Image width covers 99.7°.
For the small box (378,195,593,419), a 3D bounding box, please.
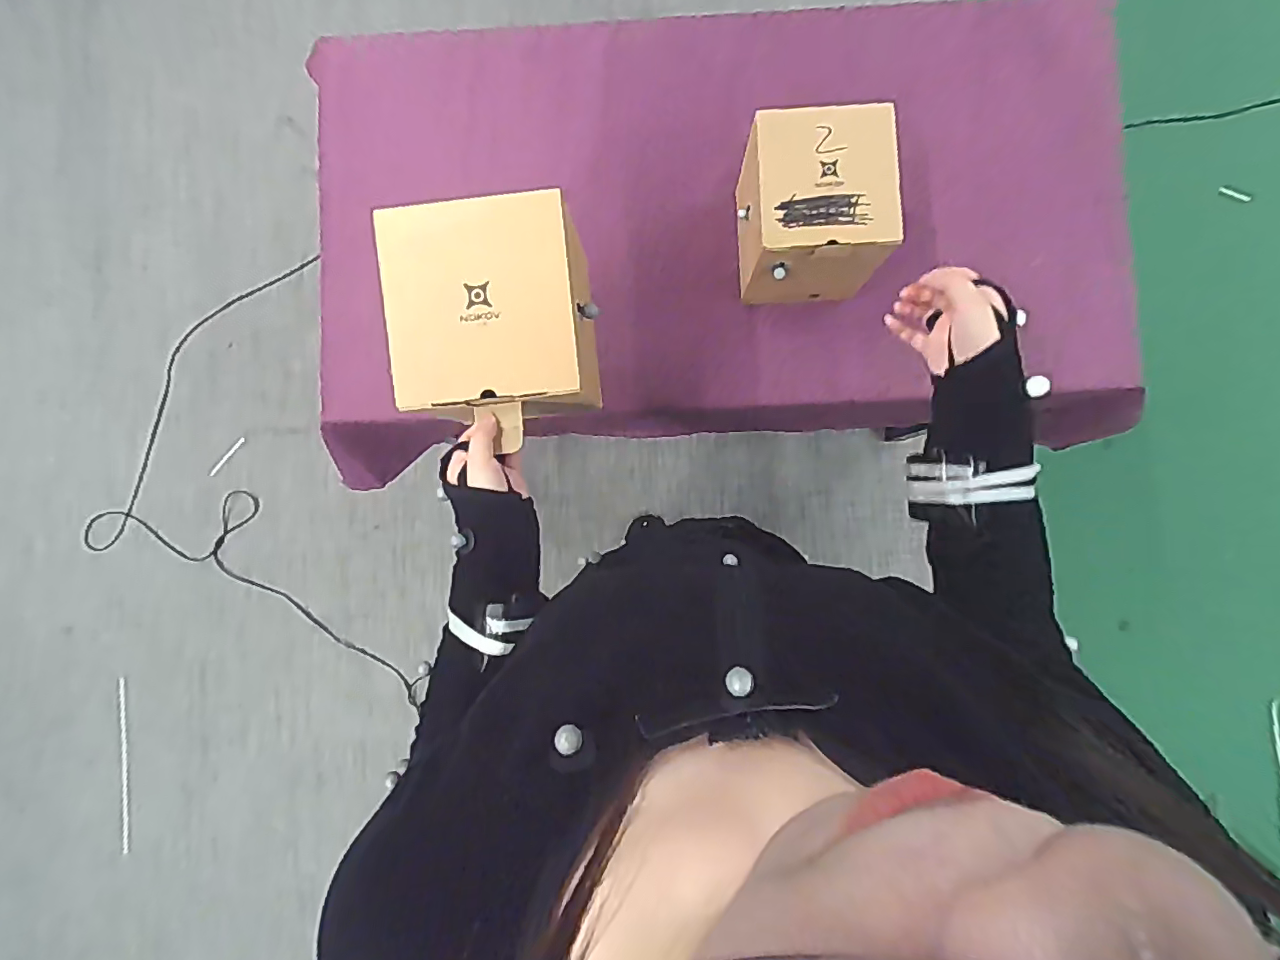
[{"bbox_3d":[-0.144,-0.163,0.562,0.168,0.176,0.179,-6,93,2],"label":"small box"}]
